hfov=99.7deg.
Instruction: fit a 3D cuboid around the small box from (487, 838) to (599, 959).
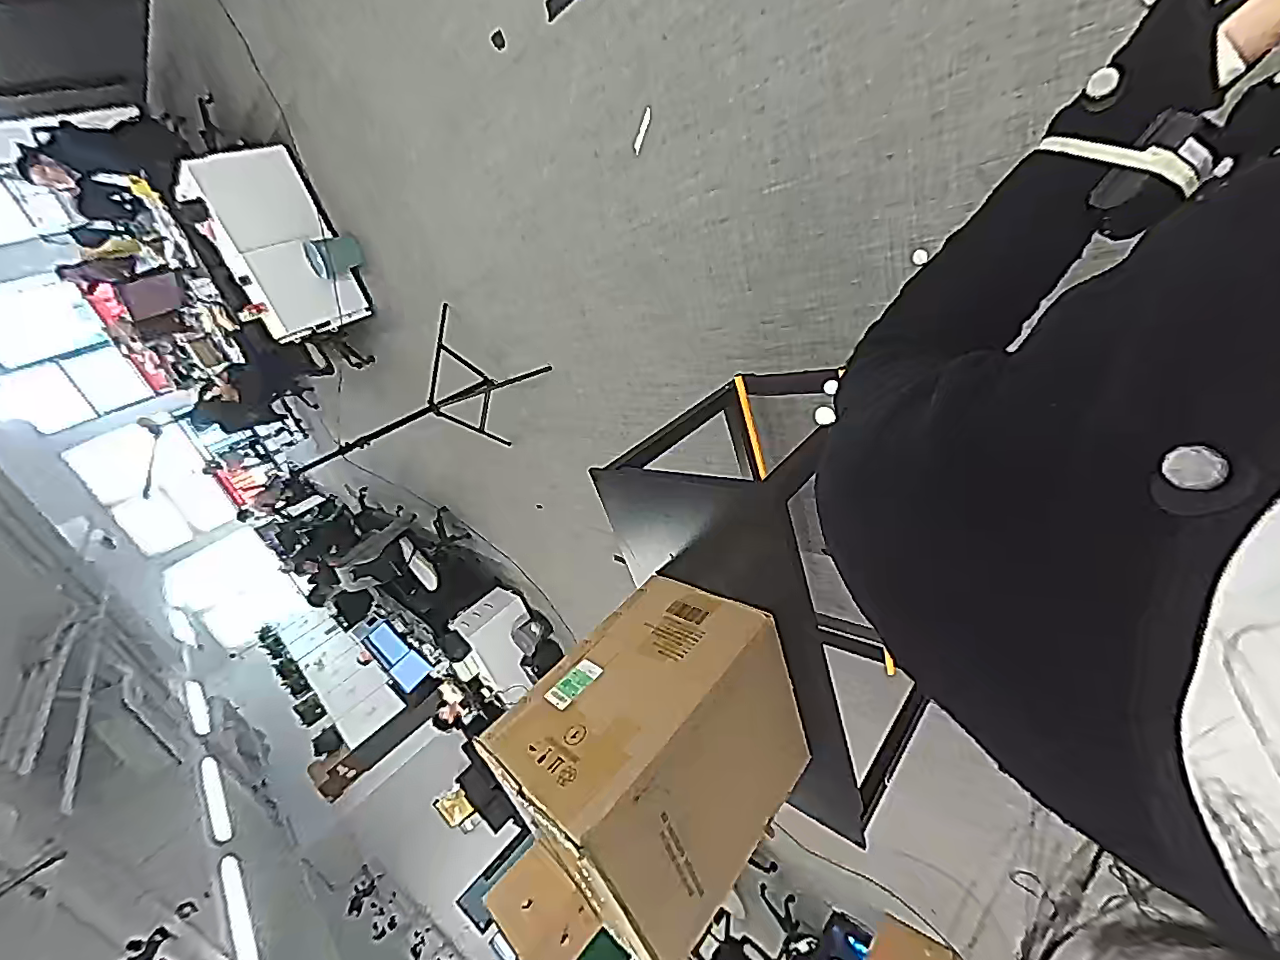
[{"bbox_3d":[-0.214,0.984,1.247,0.179,0.176,0.168,10,127,48],"label":"small box"}]
